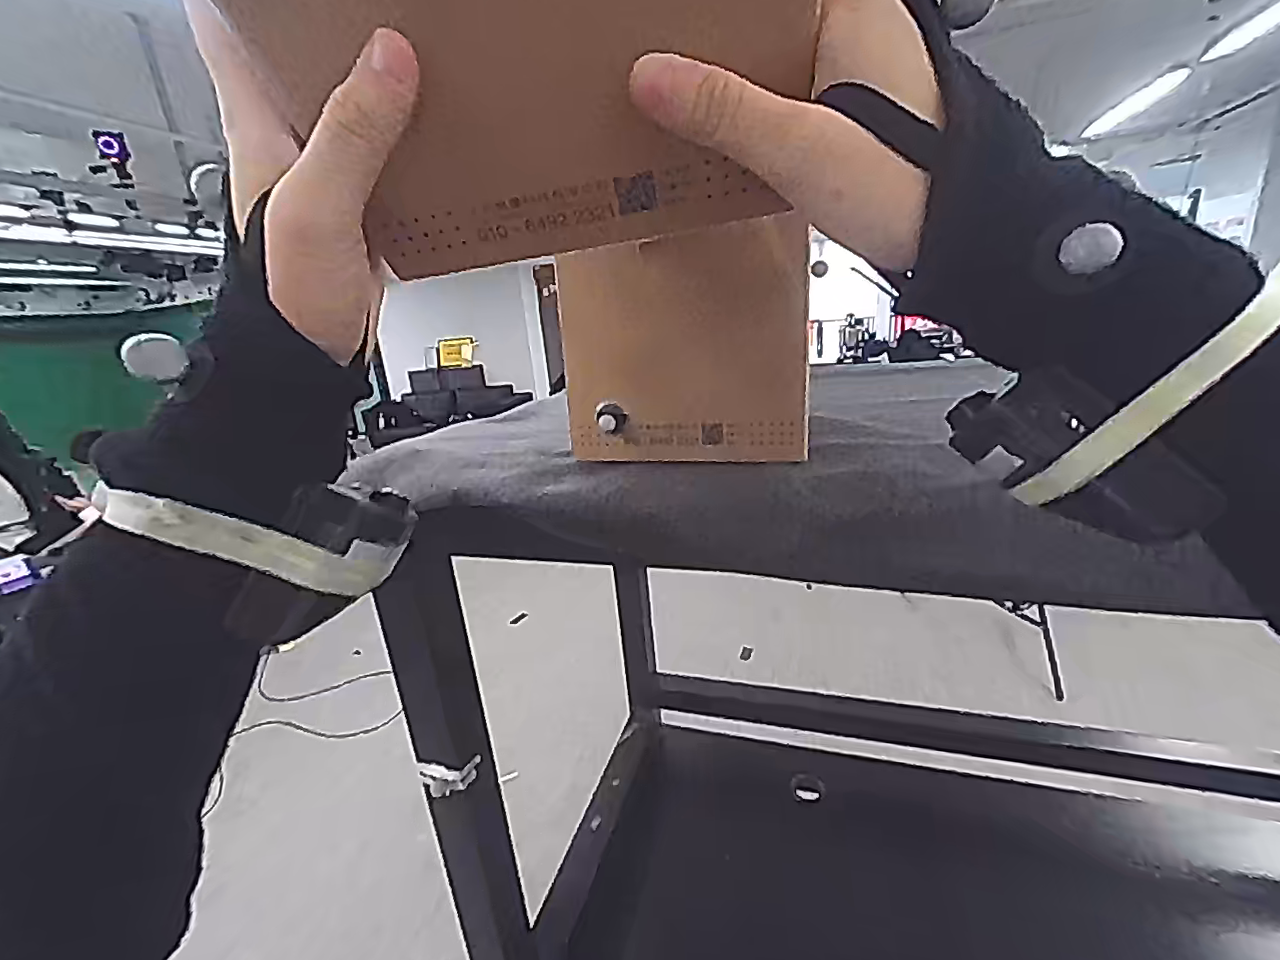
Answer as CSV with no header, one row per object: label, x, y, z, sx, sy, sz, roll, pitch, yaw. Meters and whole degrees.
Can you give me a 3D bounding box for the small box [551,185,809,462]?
small box,0.047,-0.112,0.430,0.168,0.176,0.179,1,15,16
